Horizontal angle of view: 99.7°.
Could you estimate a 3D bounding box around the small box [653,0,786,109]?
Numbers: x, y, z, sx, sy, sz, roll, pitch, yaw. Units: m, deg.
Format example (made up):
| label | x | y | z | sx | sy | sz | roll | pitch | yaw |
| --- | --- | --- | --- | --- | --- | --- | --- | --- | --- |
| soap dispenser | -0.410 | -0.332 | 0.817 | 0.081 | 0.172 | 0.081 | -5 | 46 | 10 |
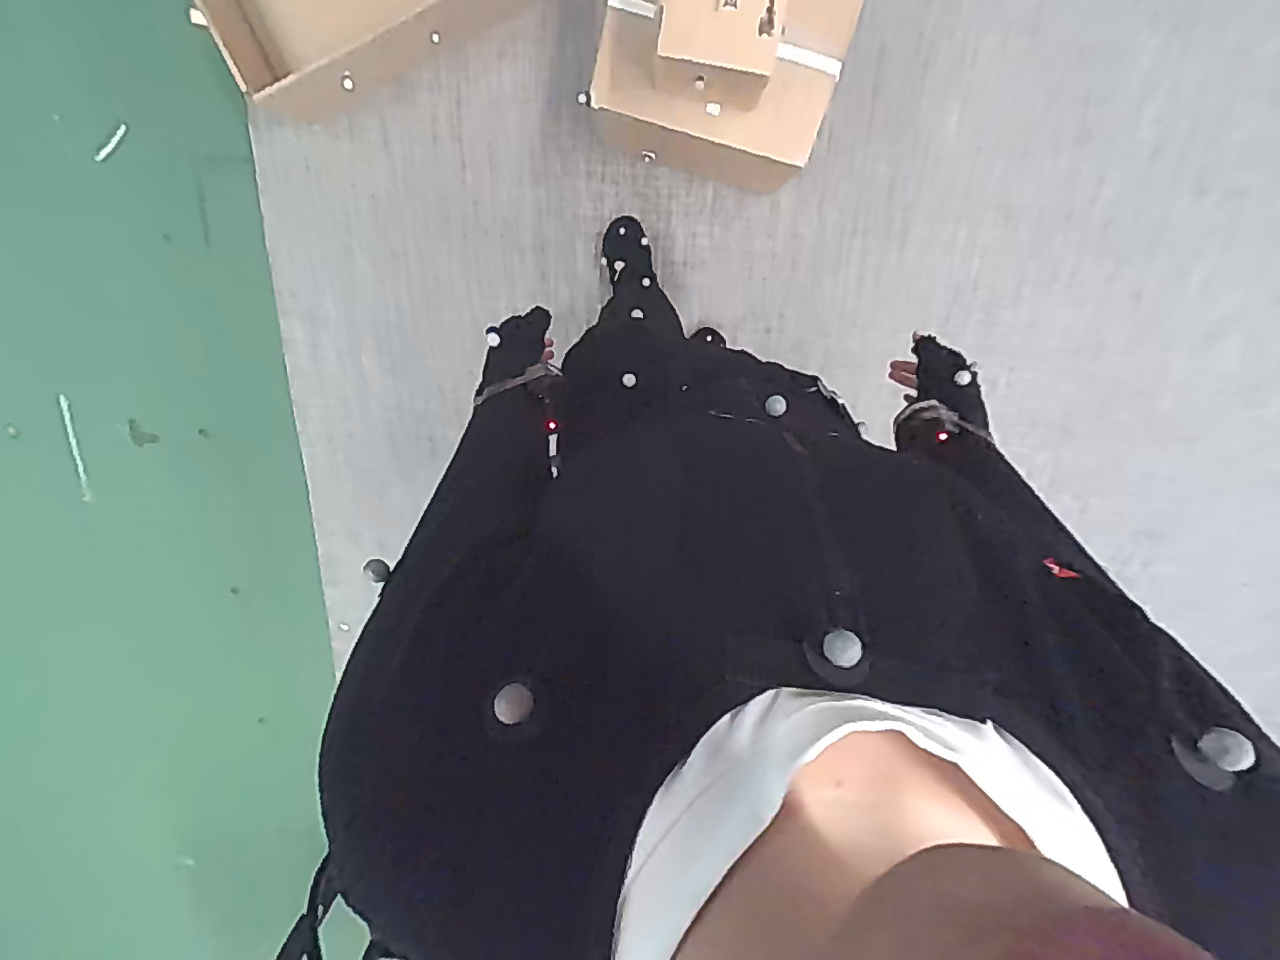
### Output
| label | x | y | z | sx | sy | sz | roll | pitch | yaw |
| --- | --- | --- | --- | --- | --- | --- | --- | --- | --- |
| small box | 0.122 | -0.702 | 0.834 | 0.179 | 0.176 | 0.168 | 10 | 110 | 0 |
